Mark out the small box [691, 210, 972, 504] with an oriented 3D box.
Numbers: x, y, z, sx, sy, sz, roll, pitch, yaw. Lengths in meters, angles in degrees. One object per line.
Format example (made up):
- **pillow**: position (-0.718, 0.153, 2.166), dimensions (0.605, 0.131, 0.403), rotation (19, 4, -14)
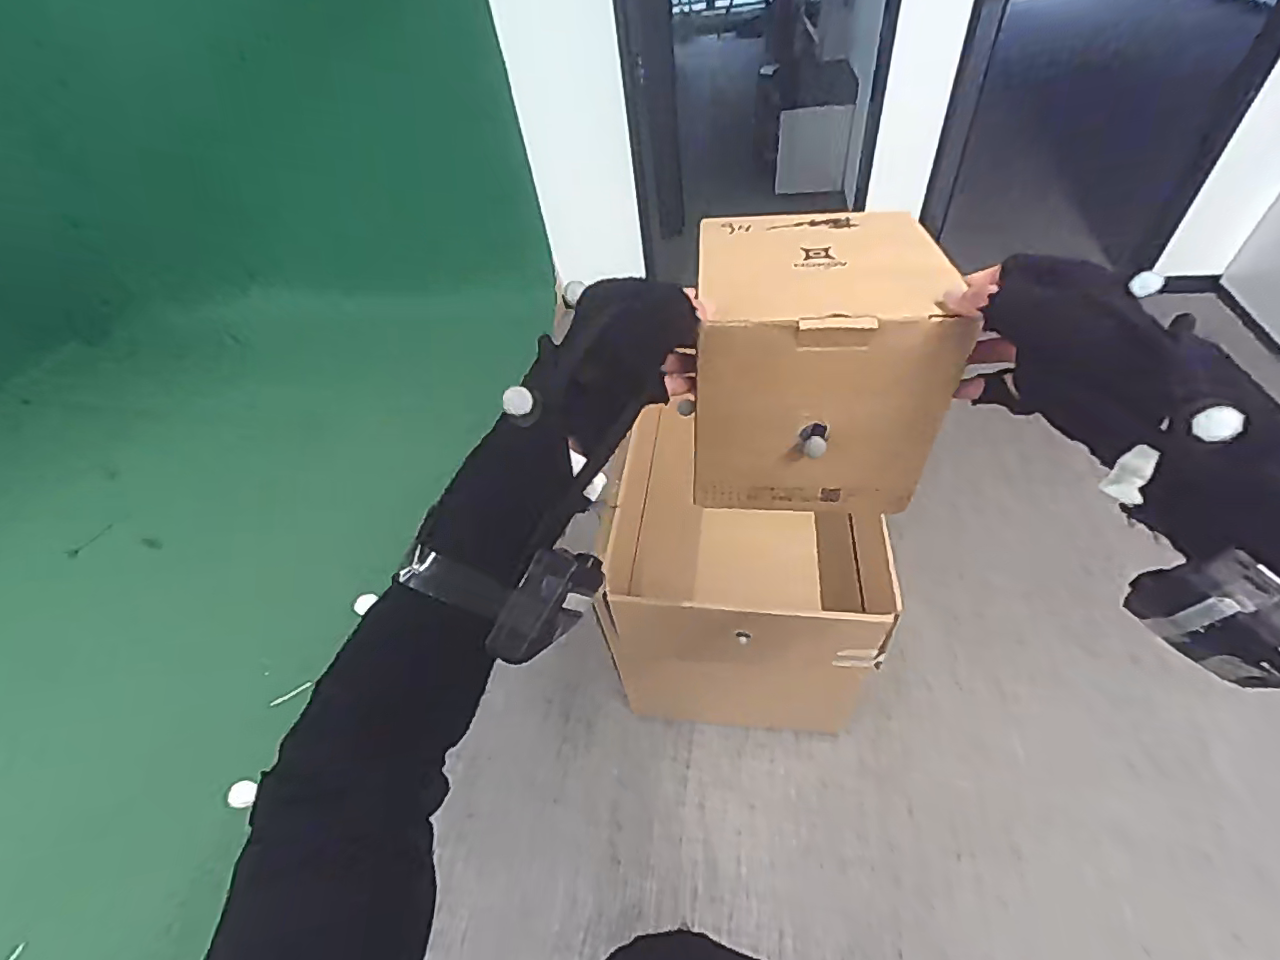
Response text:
- **small box**: position (0.127, -0.096, 0.435), dimensions (0.168, 0.176, 0.179), rotation (1, 46, 6)
